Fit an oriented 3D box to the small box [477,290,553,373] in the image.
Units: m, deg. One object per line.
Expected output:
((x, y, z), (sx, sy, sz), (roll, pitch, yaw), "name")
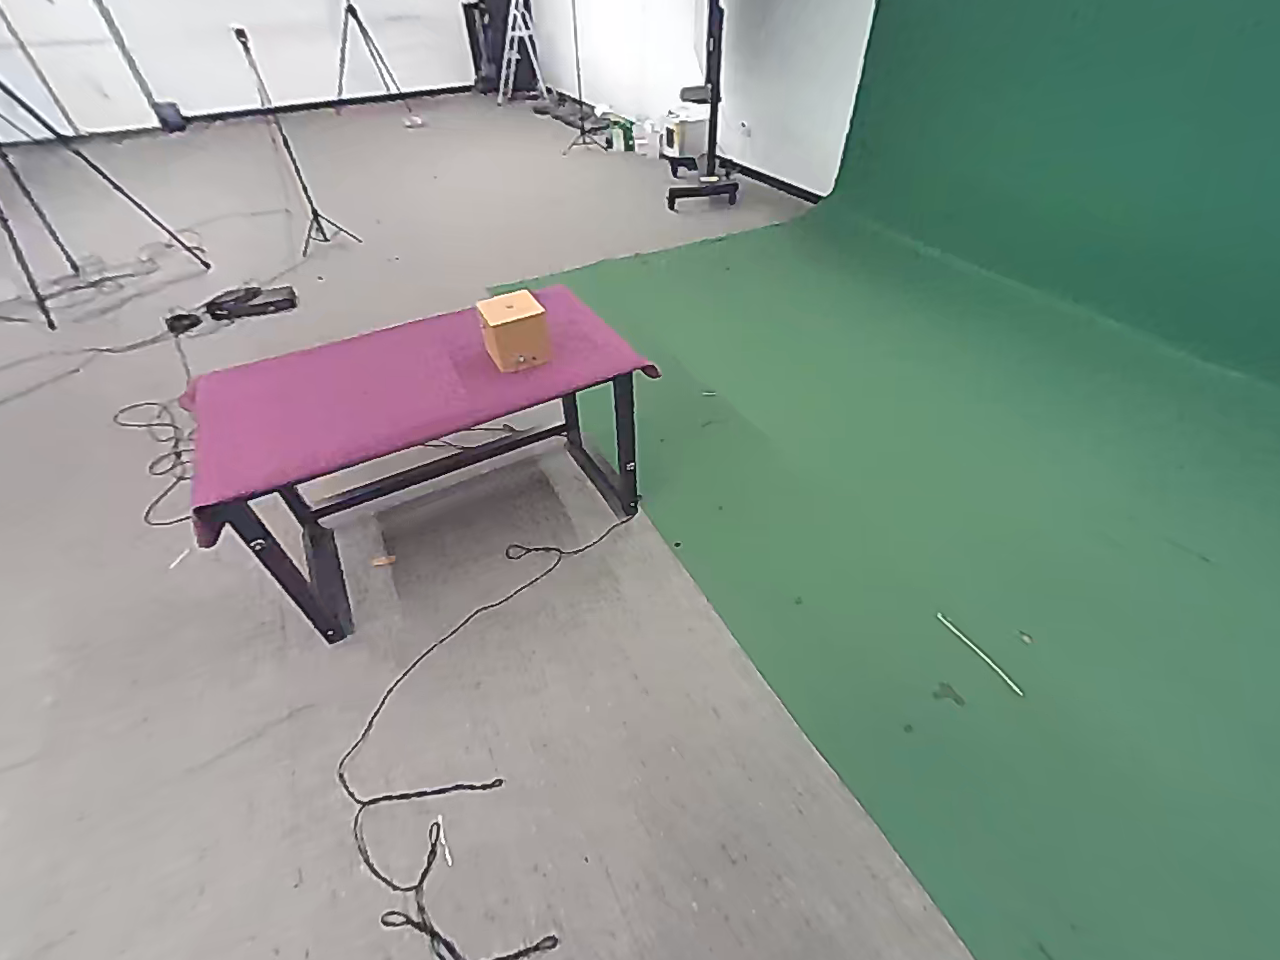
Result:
((-0.378, -0.452, 1.647), (0.168, 0.176, 0.179), (-22, 47, -17), "small box")
